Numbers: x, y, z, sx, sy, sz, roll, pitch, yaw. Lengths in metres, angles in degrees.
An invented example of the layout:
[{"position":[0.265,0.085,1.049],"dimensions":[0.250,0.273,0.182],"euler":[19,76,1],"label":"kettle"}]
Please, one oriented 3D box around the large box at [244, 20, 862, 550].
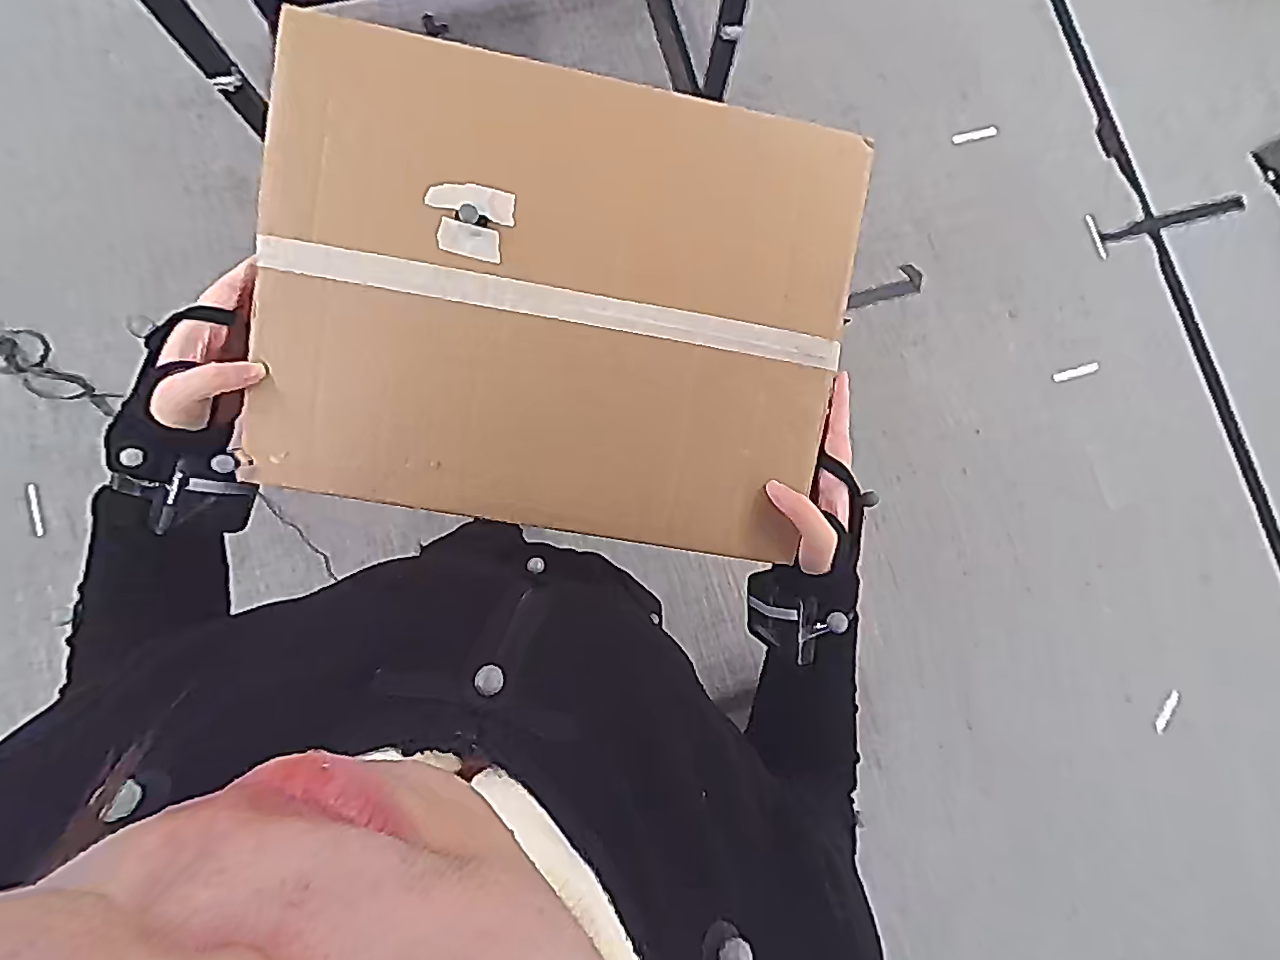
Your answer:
[{"position":[-0.067,-0.139,0.523],"dimensions":[0.408,0.320,0.320],"euler":[8,95,-4],"label":"large box"}]
